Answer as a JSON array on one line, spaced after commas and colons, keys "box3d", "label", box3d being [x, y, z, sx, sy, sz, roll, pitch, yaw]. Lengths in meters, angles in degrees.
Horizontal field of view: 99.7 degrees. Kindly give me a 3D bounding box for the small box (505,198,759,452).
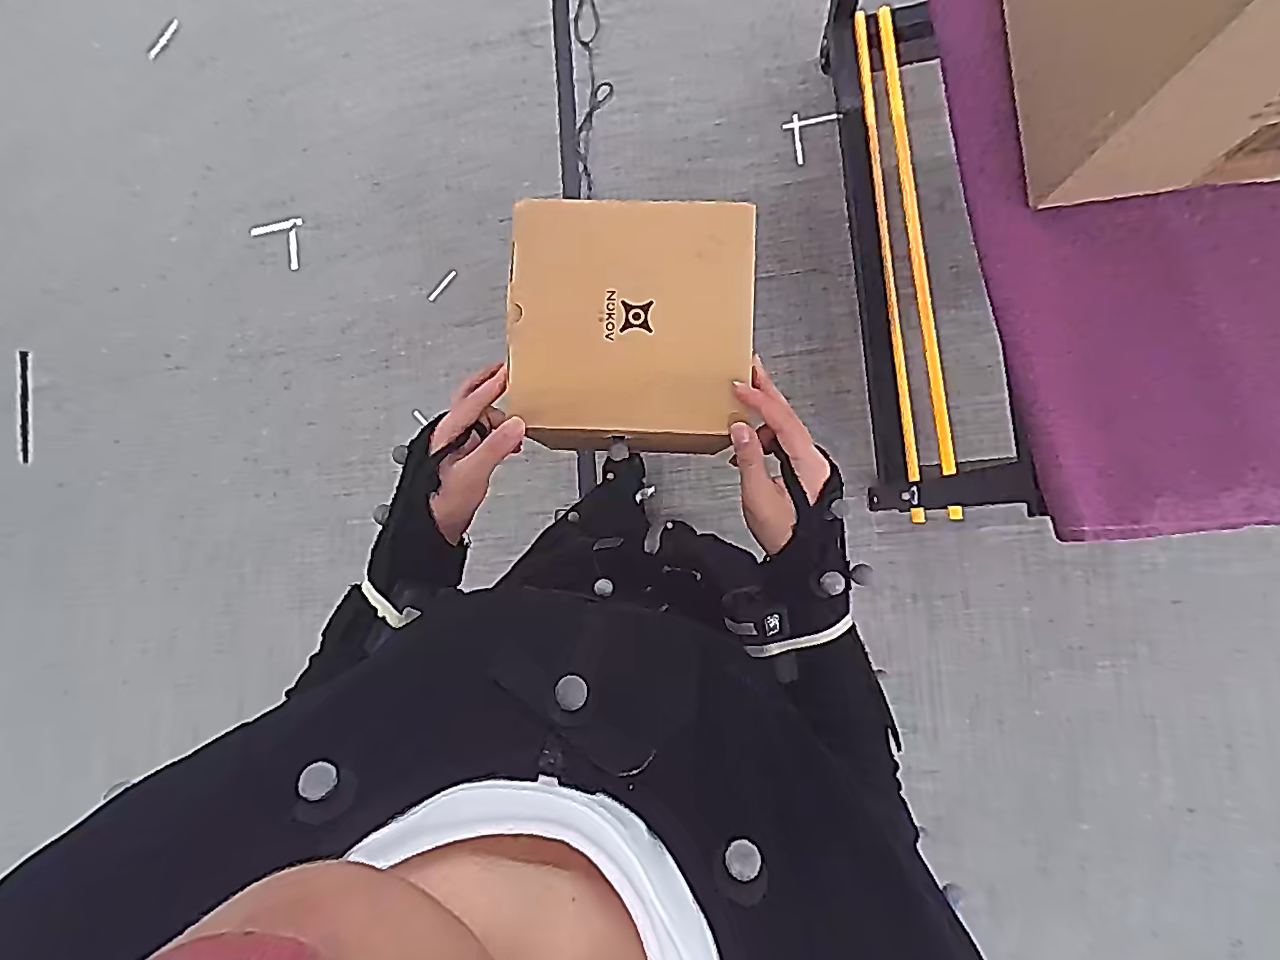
[{"box3d": [-0.004, -0.114, 0.463, 0.179, 0.176, 0.168, 2, 88, 2], "label": "small box"}]
